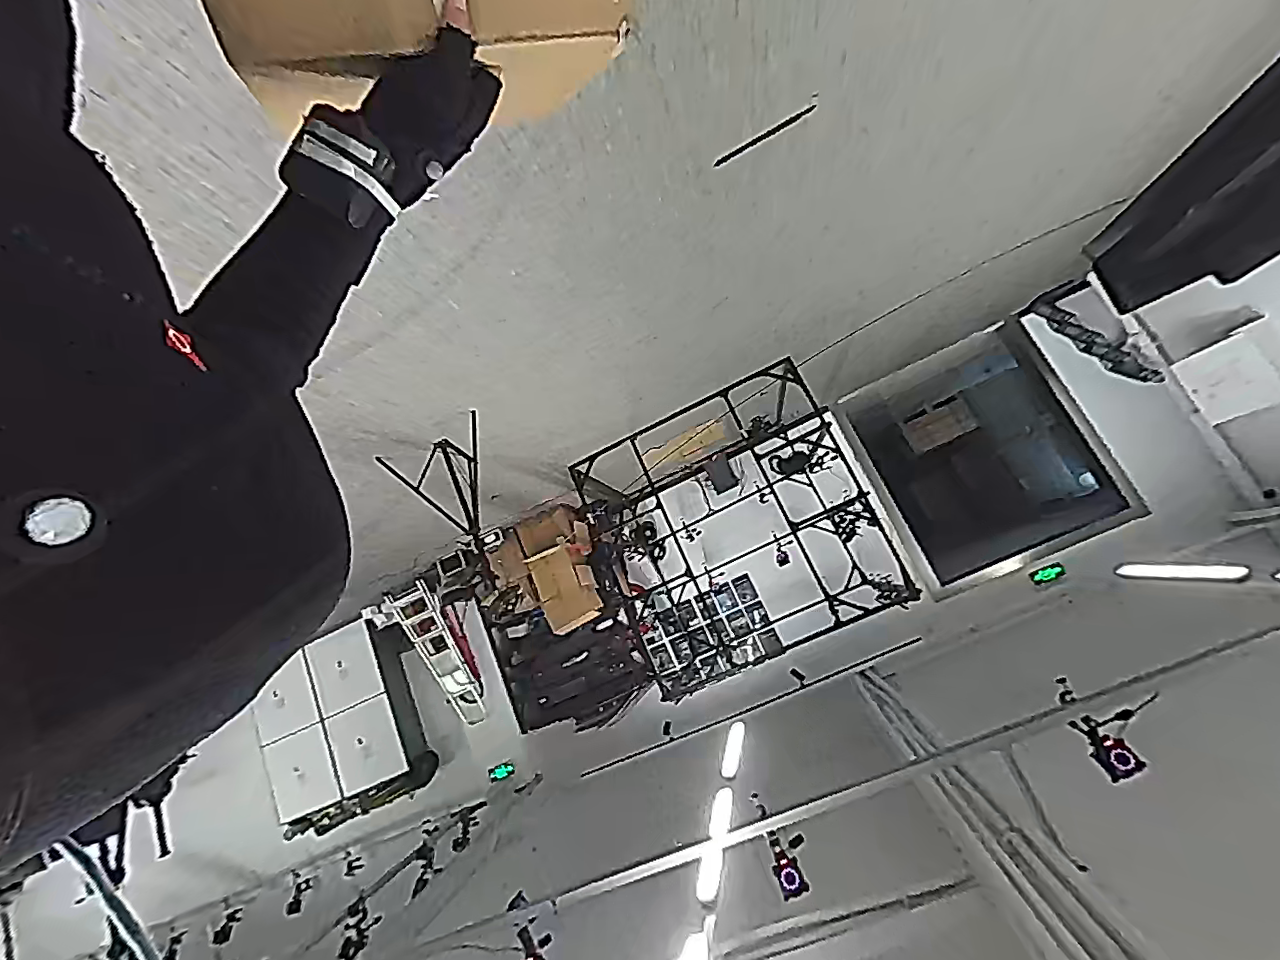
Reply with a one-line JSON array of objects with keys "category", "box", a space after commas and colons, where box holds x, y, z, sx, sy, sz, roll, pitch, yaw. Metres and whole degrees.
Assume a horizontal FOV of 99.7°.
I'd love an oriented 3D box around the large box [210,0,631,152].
[{"category": "large box", "box": [-0.241, -0.556, 0.467, 0.320, 0.408, 0.320, -20, -152, -17]}]
